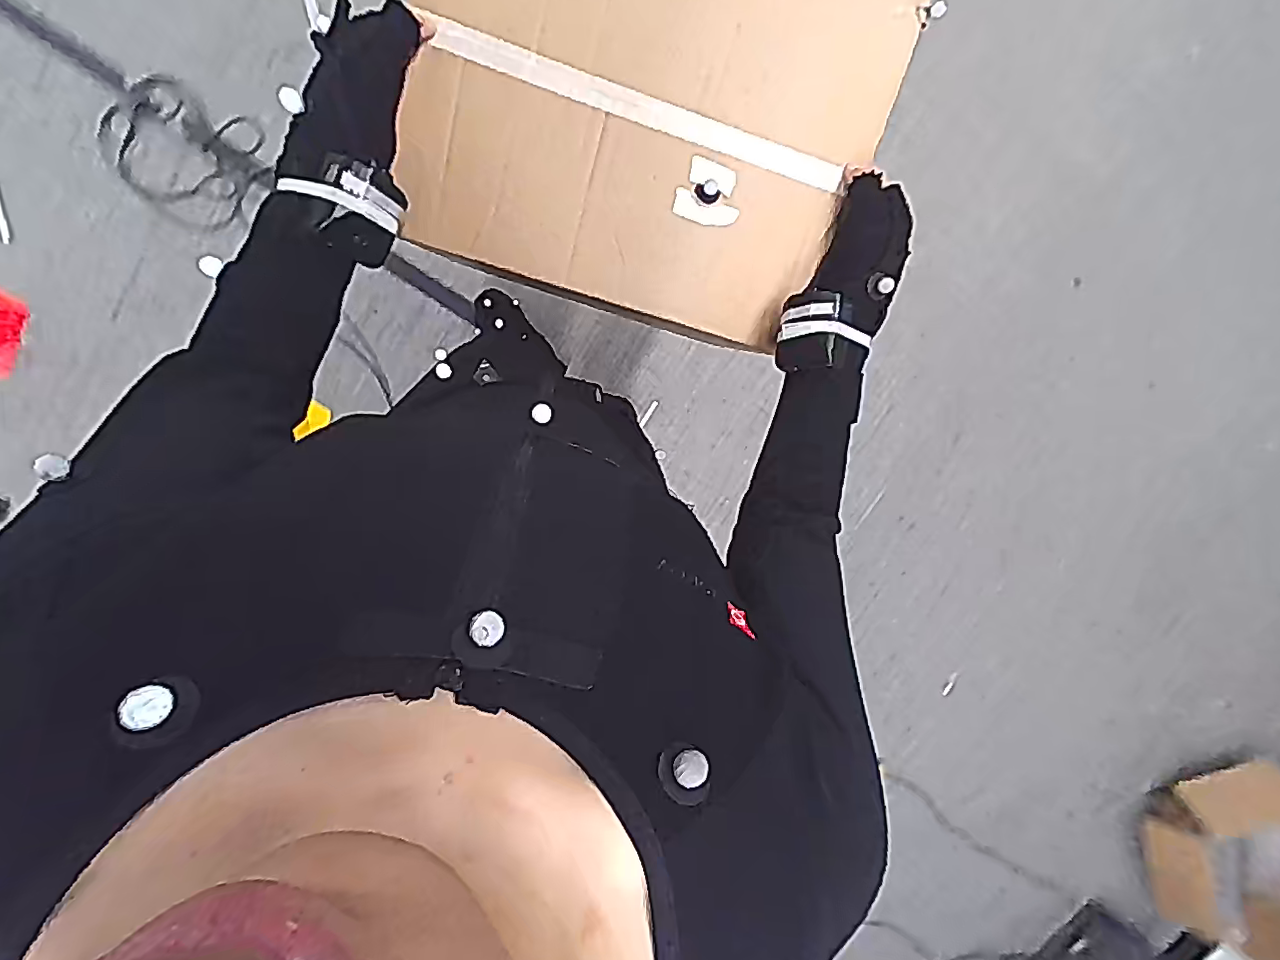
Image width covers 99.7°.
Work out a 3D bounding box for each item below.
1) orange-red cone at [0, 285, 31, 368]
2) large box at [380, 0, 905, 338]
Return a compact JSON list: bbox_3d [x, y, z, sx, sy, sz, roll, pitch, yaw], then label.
[{"bbox_3d":[-1.630,-0.365,1.178,0.199,0.360,0.198,29,101,-9],"label":"orange-red cone"},{"bbox_3d":[-0.016,-0.361,0.603,0.408,0.320,0.320,13,105,-10],"label":"large box"}]
